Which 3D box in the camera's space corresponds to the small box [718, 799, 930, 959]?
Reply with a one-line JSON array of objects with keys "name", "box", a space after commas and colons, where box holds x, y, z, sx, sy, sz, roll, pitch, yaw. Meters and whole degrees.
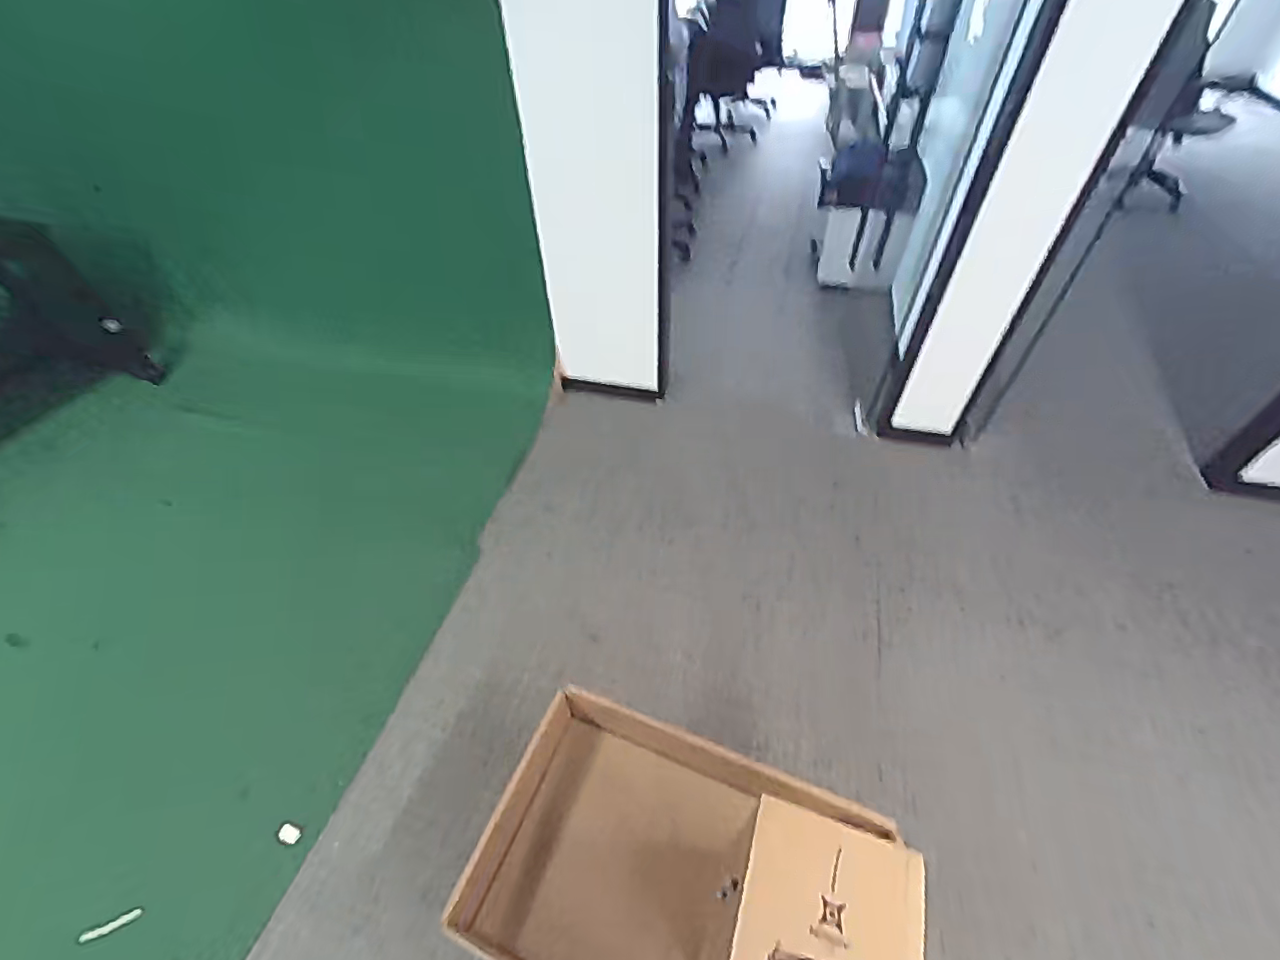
[{"name": "small box", "box": [0.179, 0.470, 0.554, 0.168, 0.176, 0.179, 15, 49, 15]}]

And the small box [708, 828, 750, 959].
[{"name": "small box", "box": [0.183, 0.577, 0.678, 0.168, 0.176, 0.179, 15, 50, 15]}]

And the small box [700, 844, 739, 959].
[{"name": "small box", "box": [0.187, 0.684, 0.801, 0.168, 0.176, 0.179, 15, 49, 15]}]
